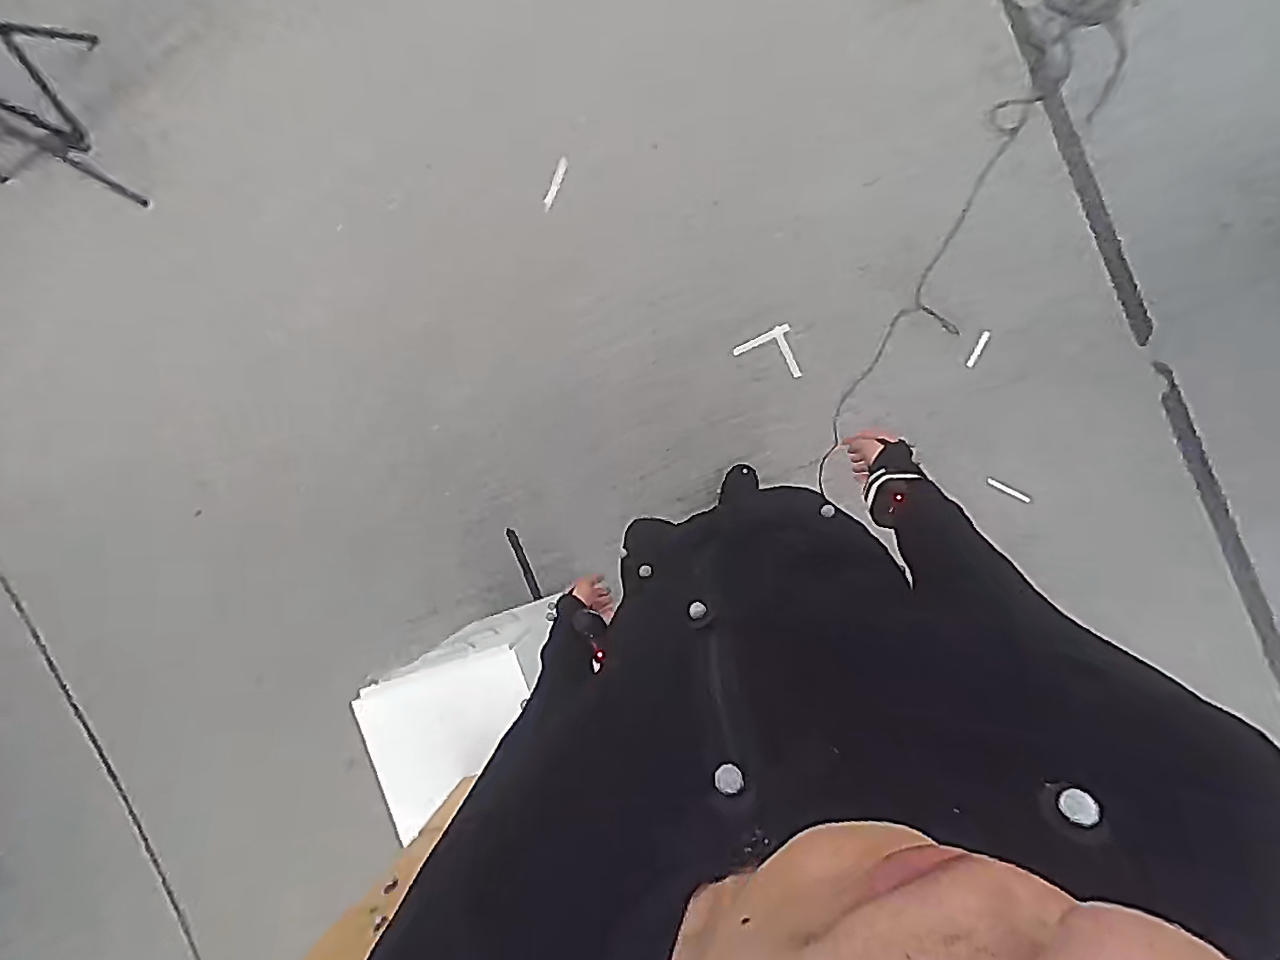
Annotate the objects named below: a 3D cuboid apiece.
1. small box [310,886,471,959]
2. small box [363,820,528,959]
[{"bbox_3d":[-0.337,0.691,0.712,0.168,0.176,0.179,-20,90,10],"label":"small box"},{"bbox_3d":[-0.309,0.692,0.873,0.179,0.176,0.168,-18,91,10],"label":"small box"}]
